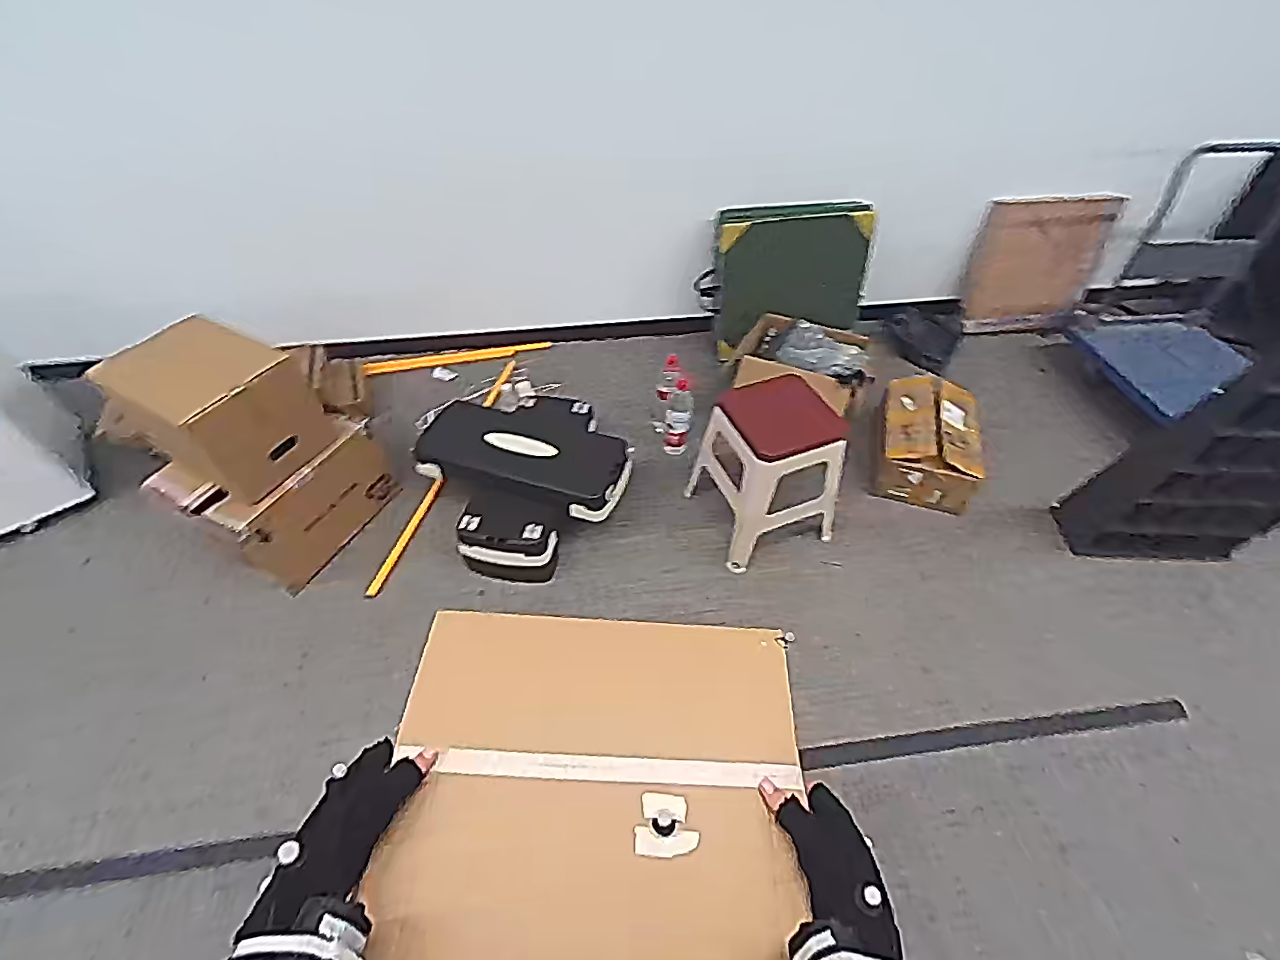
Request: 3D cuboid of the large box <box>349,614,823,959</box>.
[{"bbox_3d":[-0.046,0.383,0.653,0.408,0.320,0.320,5,51,0],"label":"large box"}]
